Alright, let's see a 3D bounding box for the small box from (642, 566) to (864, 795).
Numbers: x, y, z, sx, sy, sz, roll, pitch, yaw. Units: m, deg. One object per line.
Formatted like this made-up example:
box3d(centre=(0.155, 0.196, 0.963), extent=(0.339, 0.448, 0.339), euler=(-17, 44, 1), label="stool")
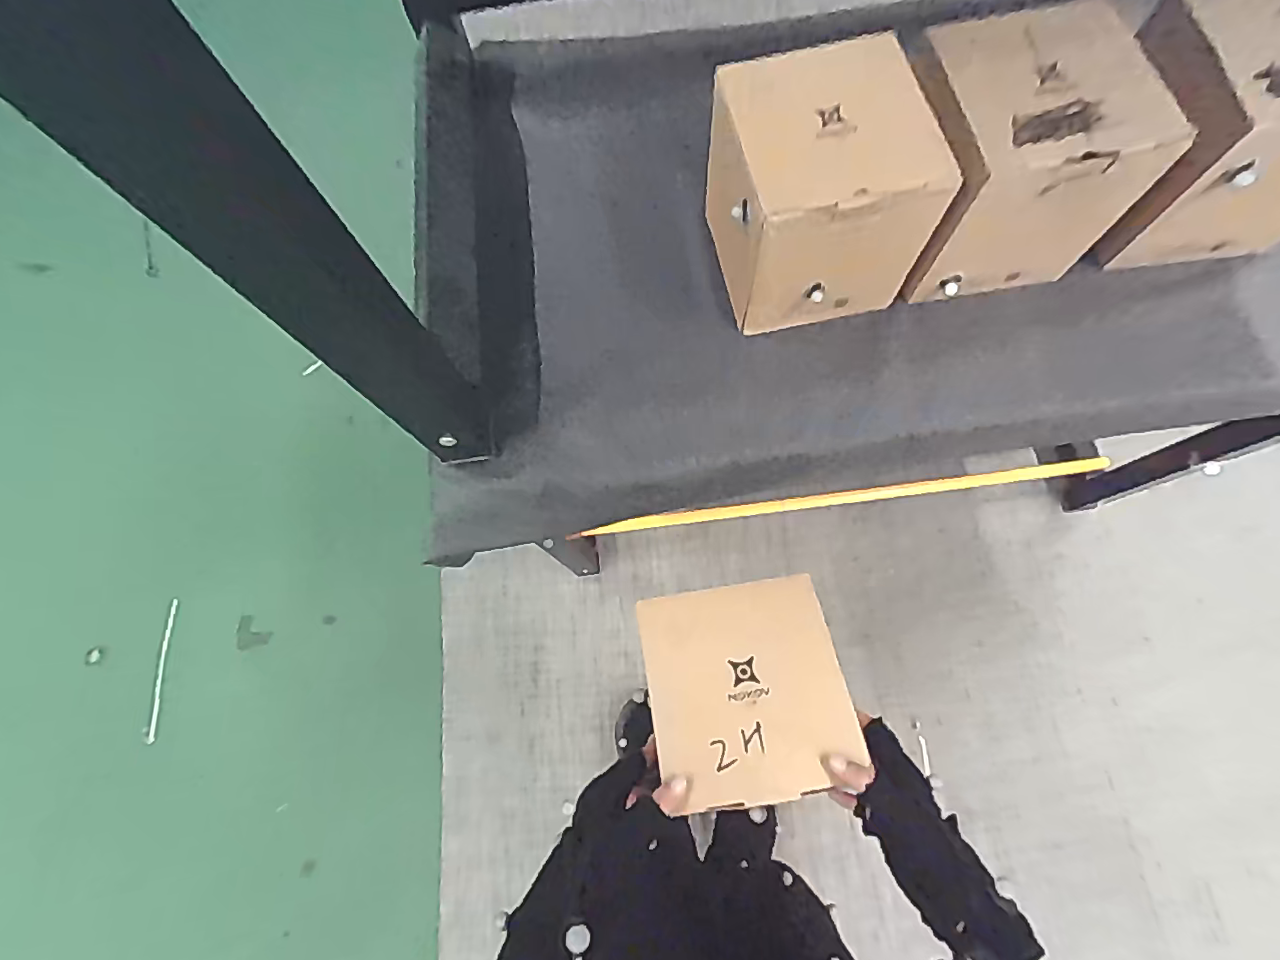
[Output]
box3d(centre=(0.097, 0.209, 0.549), extent=(0.168, 0.176, 0.179), euler=(-9, 59, 0), label="small box")
